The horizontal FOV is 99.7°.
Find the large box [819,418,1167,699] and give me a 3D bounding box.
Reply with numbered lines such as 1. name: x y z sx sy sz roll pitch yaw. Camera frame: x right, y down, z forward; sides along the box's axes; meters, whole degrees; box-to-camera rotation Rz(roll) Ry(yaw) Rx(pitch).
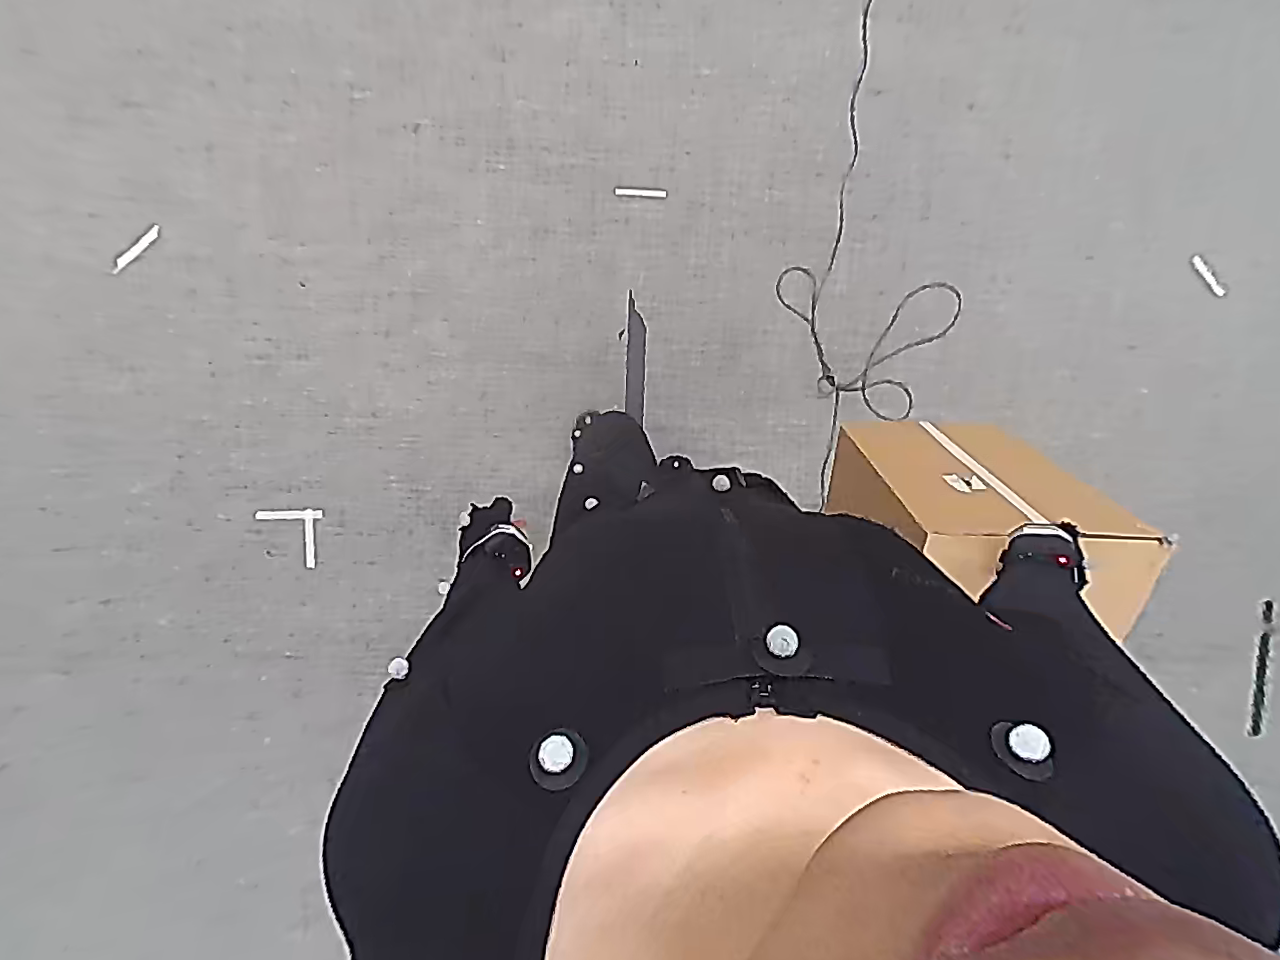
1. large box: 0.541 0.113 0.951 0.320 0.408 0.320 1 119 2
